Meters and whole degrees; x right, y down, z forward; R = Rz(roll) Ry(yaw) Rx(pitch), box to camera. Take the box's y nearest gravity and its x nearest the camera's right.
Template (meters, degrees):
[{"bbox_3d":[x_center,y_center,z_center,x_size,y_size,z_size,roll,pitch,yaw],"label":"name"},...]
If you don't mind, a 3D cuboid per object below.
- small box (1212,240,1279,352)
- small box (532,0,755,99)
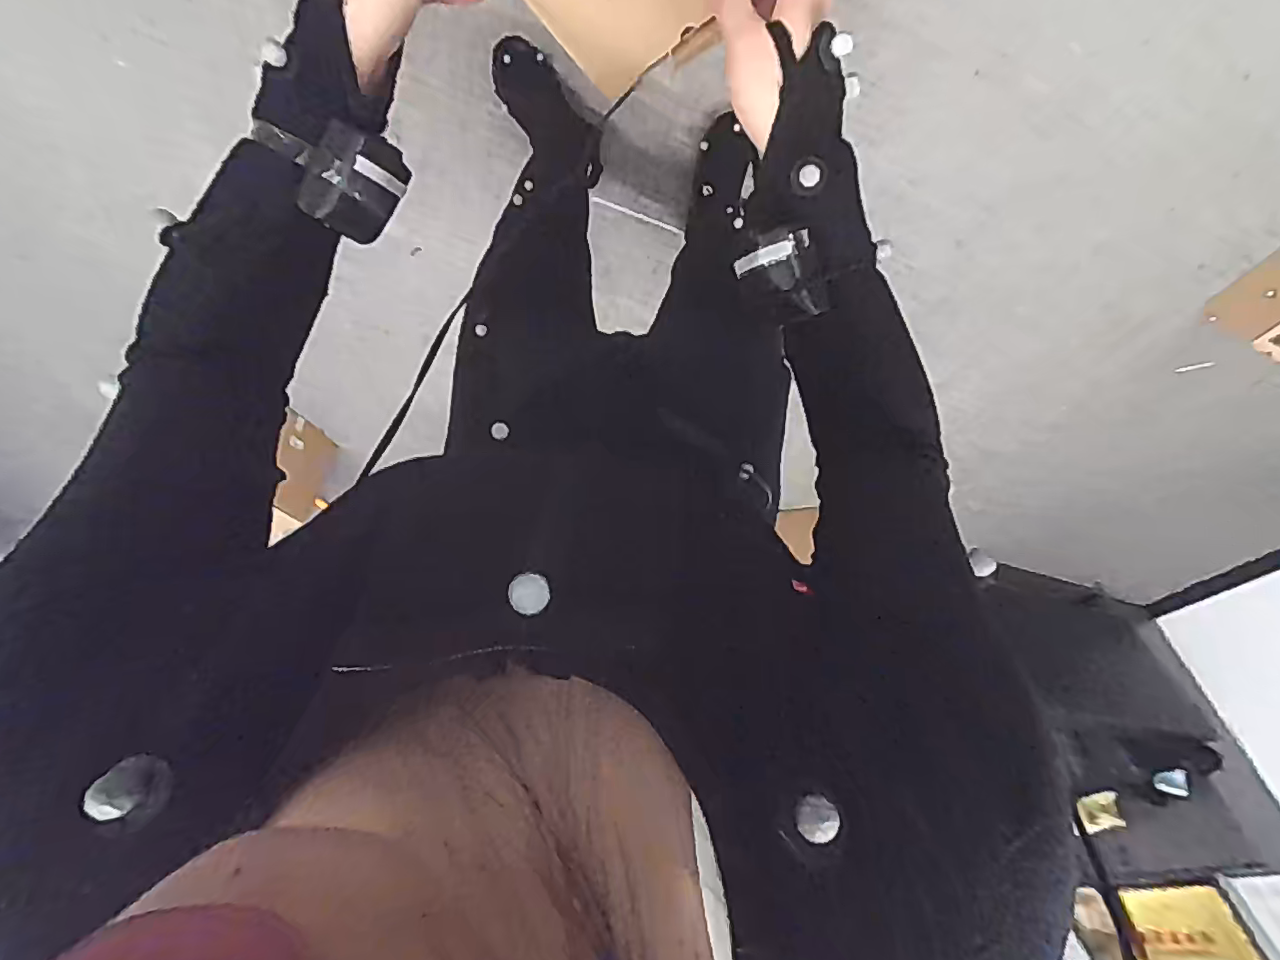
[{"bbox_3d":[1.591,-0.456,1.337,0.168,0.176,0.179,15,138,-19],"label":"small box"},{"bbox_3d":[-0.001,-0.426,0.363,0.168,0.176,0.179,-10,155,39],"label":"small box"}]
